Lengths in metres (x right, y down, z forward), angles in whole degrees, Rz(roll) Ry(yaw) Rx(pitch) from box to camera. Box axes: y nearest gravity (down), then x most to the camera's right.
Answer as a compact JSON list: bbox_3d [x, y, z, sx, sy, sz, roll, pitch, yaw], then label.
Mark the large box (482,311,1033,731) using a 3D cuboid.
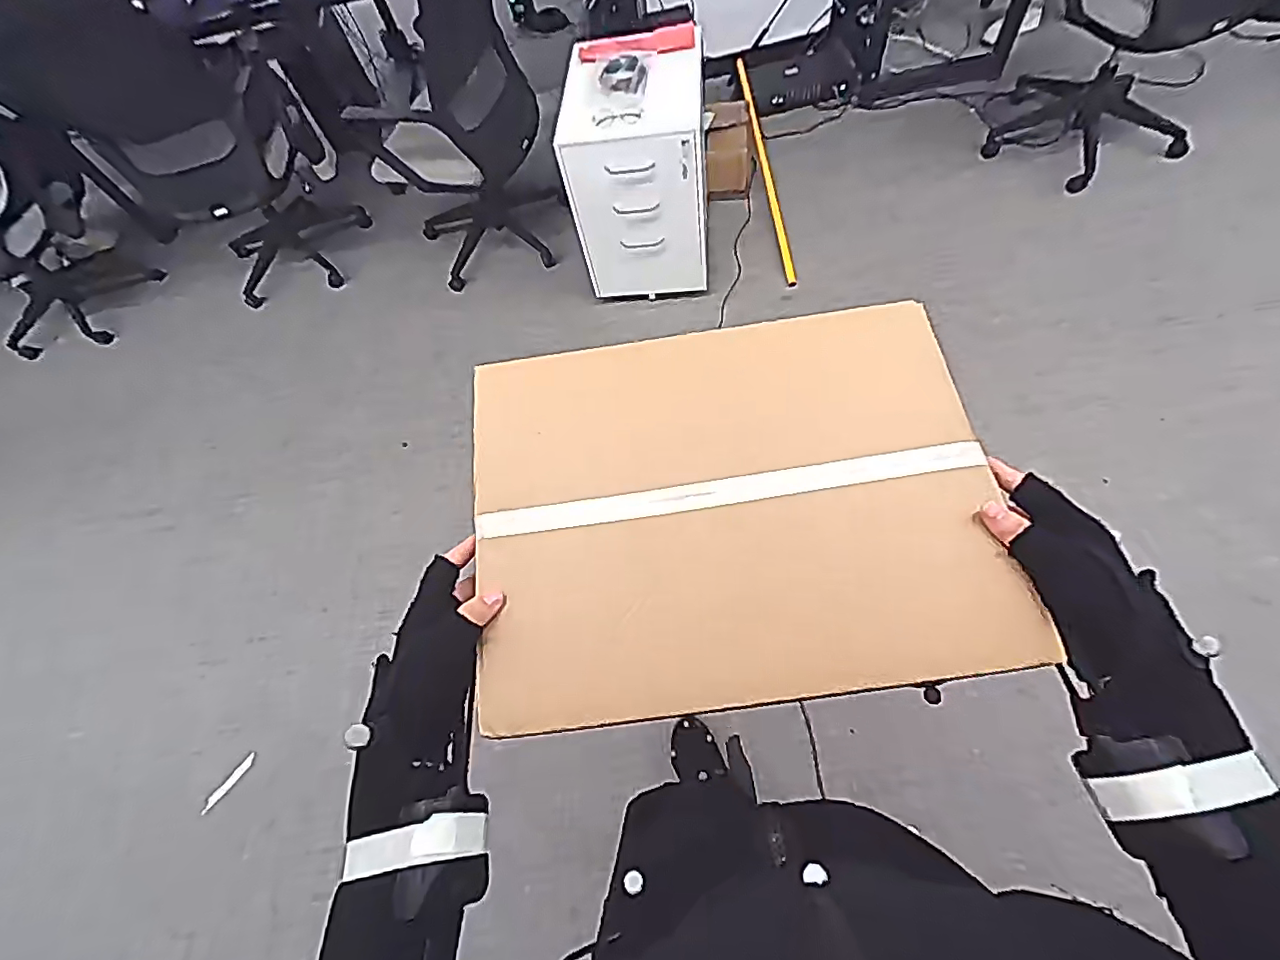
[{"bbox_3d":[0.080,0.067,0.580,0.408,0.320,0.320,-8,67,1],"label":"large box"}]
